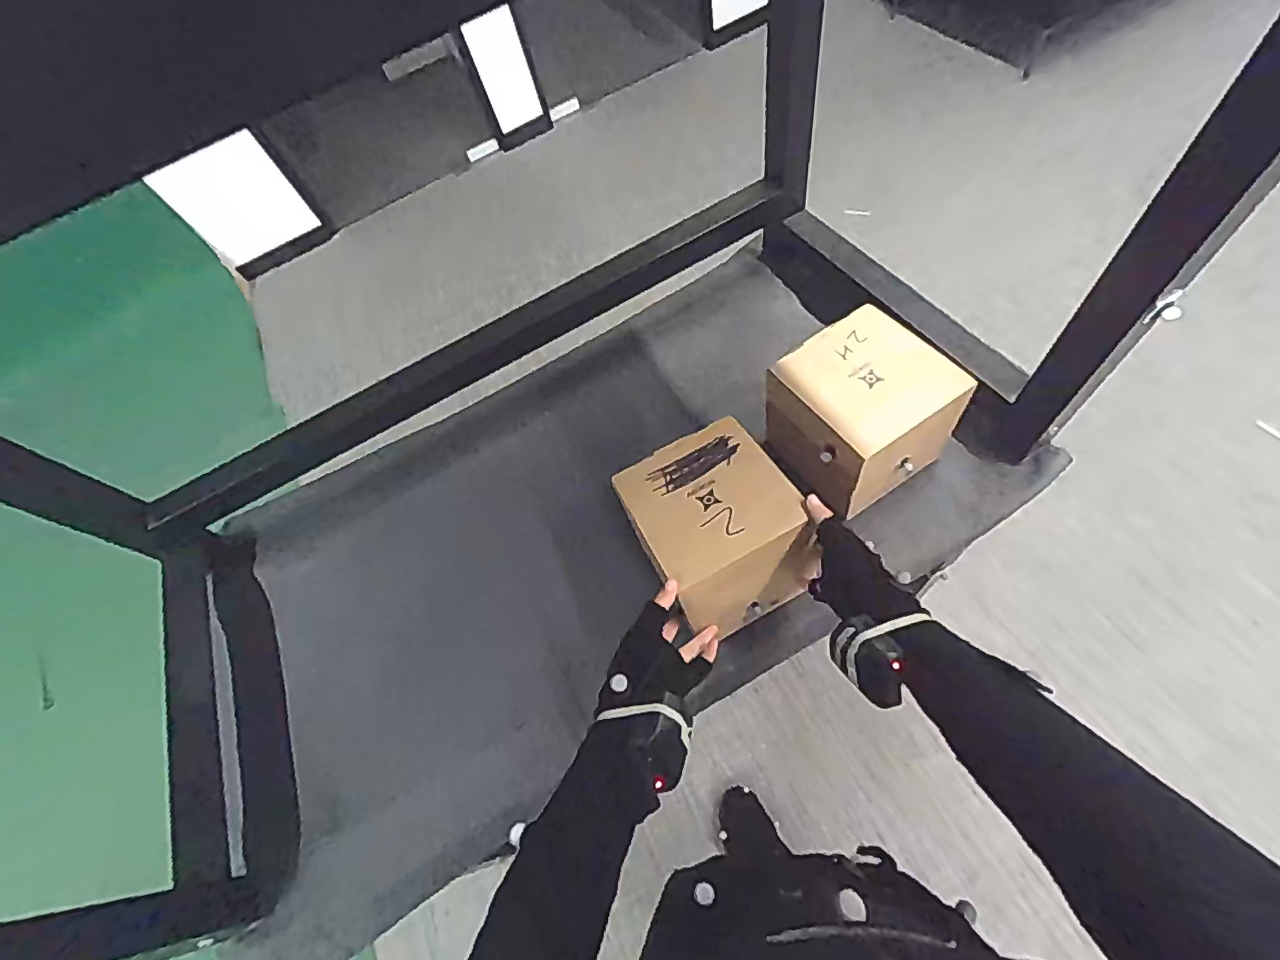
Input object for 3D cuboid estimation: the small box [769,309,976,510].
[{"bbox_3d":[0.290,-0.081,0.718,0.168,0.176,0.179,-33,59,-7],"label":"small box"}]
